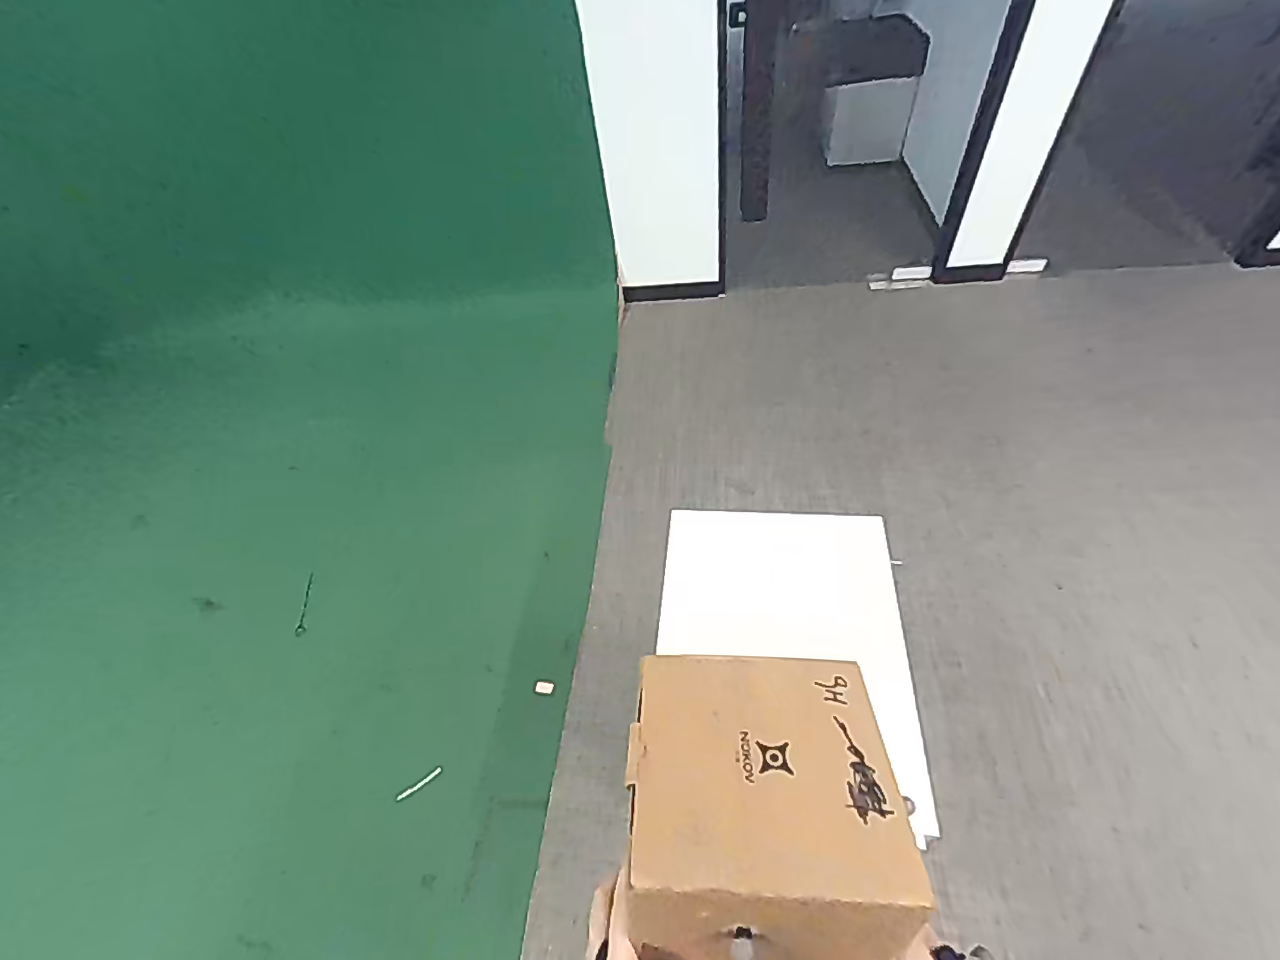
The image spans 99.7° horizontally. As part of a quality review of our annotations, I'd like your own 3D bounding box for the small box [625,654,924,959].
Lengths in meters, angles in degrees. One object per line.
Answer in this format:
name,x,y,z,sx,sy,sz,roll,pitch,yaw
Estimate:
small box,0.086,0.259,0.422,0.179,0.176,0.168,0,34,4
